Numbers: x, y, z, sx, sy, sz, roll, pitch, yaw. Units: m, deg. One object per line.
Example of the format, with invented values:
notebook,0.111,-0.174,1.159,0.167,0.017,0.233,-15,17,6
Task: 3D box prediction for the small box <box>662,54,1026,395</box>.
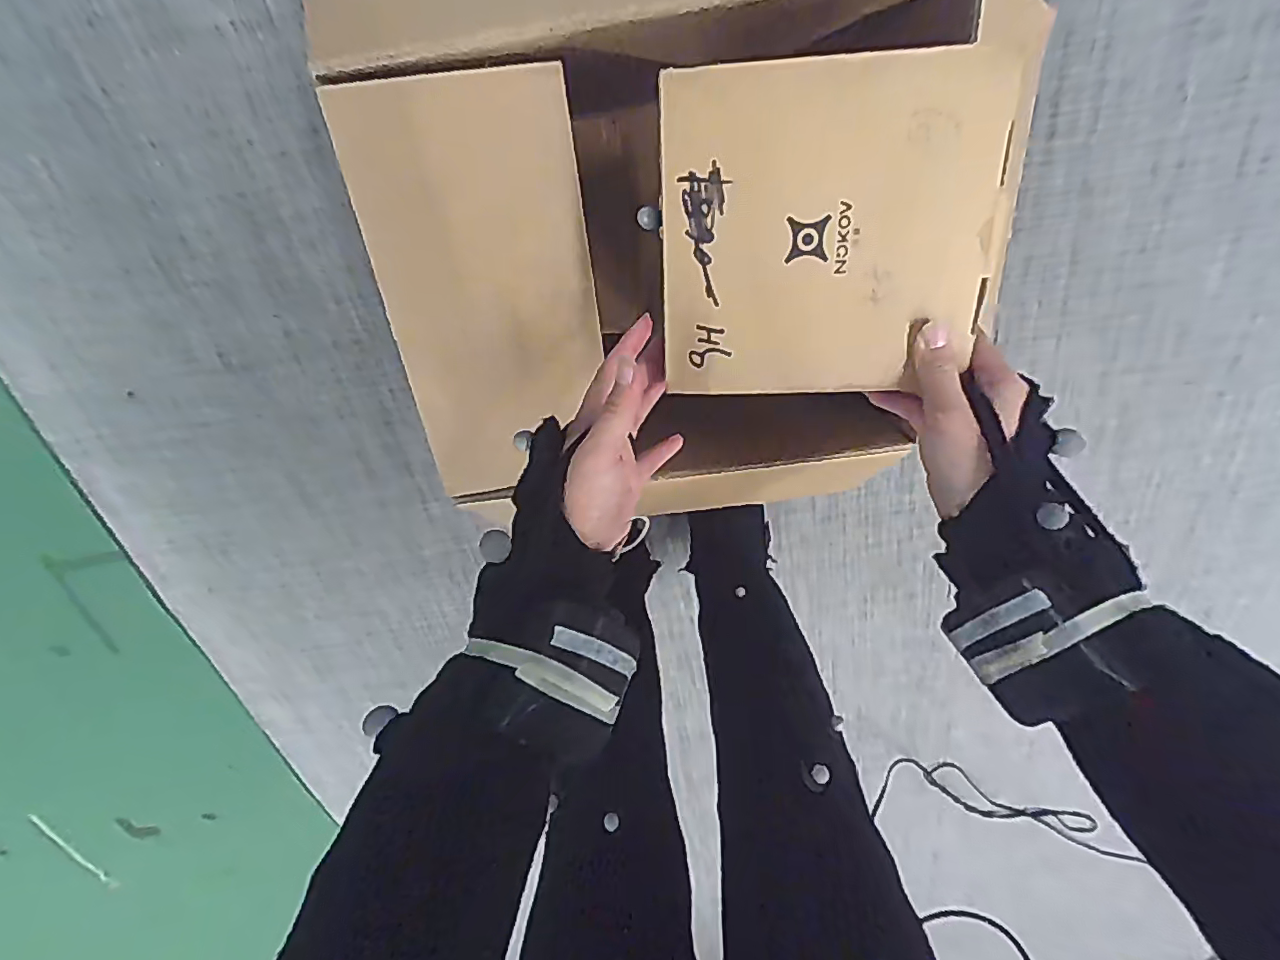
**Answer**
small box,0.104,-0.156,0.364,0.179,0.176,0.168,0,111,5
